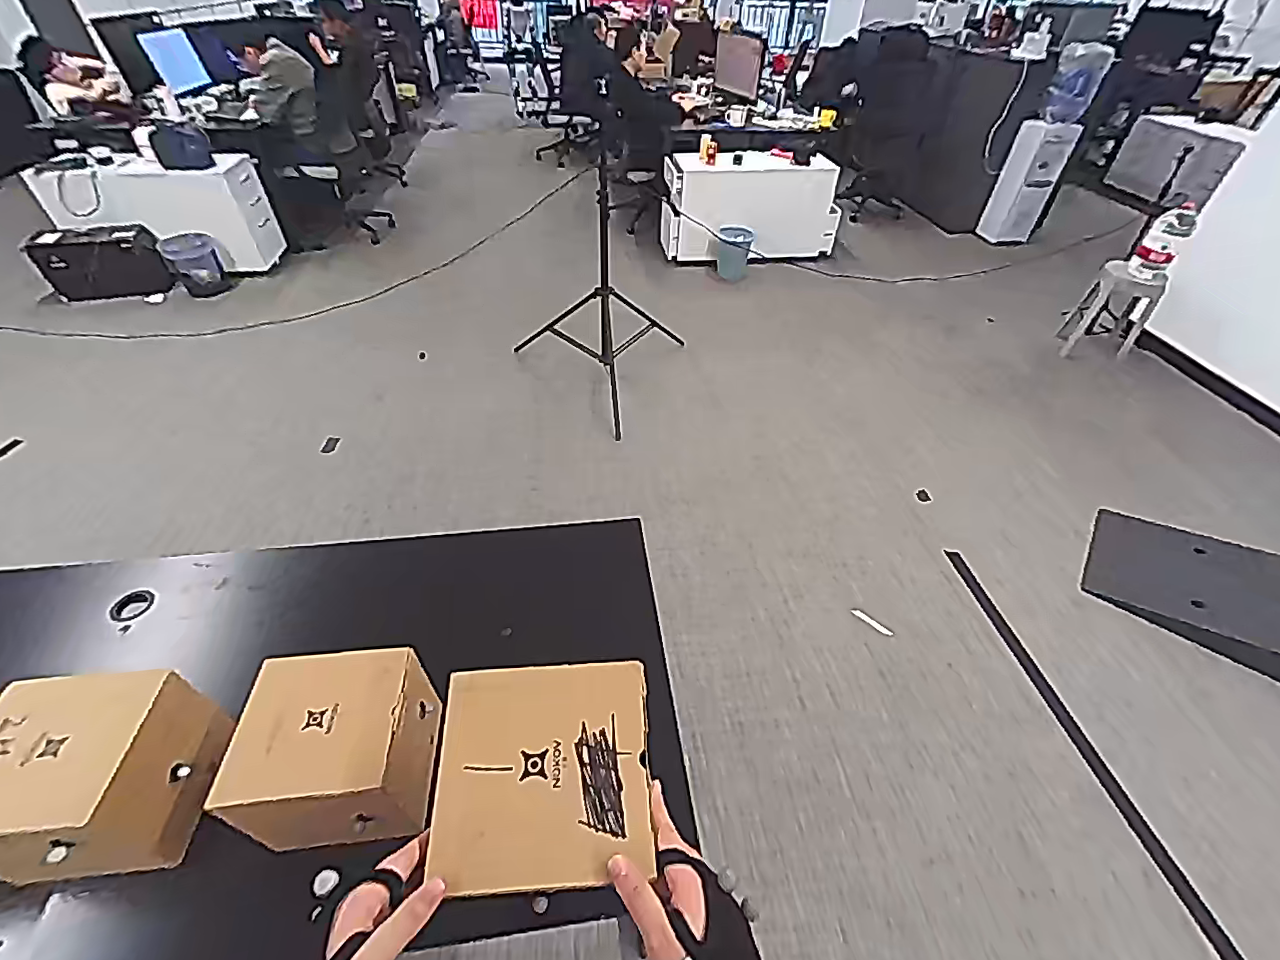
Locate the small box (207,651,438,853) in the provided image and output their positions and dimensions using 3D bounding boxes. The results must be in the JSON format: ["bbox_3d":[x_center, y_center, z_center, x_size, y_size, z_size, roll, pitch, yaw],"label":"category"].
[{"bbox_3d":[-0.361,0.333,0.663,0.179,0.176,0.168,-5,43,-6],"label":"small box"}]

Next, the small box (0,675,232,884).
[{"bbox_3d":[-0.633,0.350,0.633,0.179,0.176,0.168,-4,43,-5],"label":"small box"}]
